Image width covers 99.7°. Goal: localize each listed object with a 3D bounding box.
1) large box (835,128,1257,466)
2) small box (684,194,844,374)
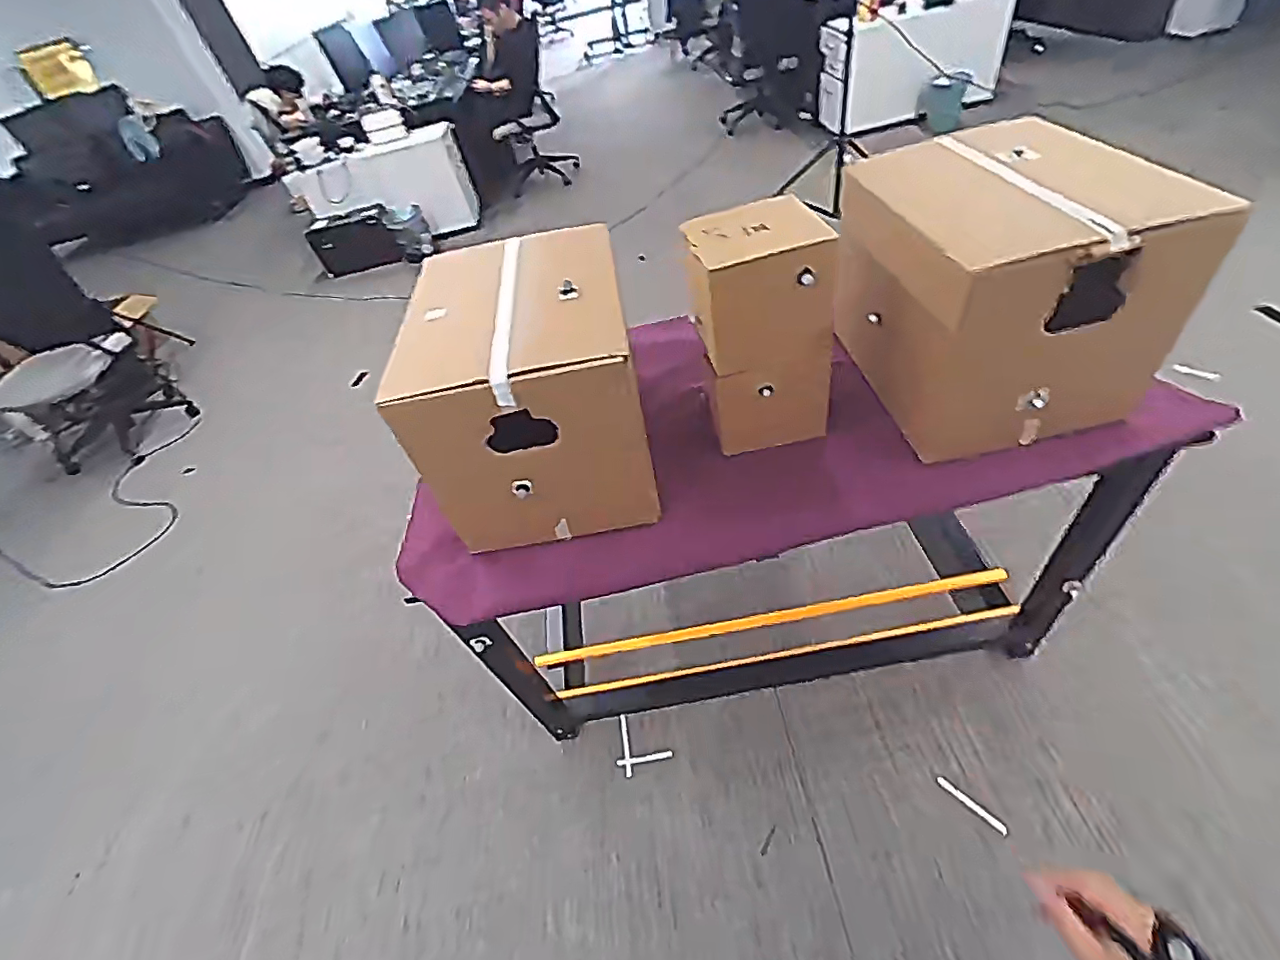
[{"bbox_3d":[0.528,-0.287,0.833,0.320,0.320,0.408,-12,44,3],"label":"large box"},{"bbox_3d":[0.173,-0.281,0.783,0.179,0.176,0.168,-15,45,2],"label":"small box"}]
